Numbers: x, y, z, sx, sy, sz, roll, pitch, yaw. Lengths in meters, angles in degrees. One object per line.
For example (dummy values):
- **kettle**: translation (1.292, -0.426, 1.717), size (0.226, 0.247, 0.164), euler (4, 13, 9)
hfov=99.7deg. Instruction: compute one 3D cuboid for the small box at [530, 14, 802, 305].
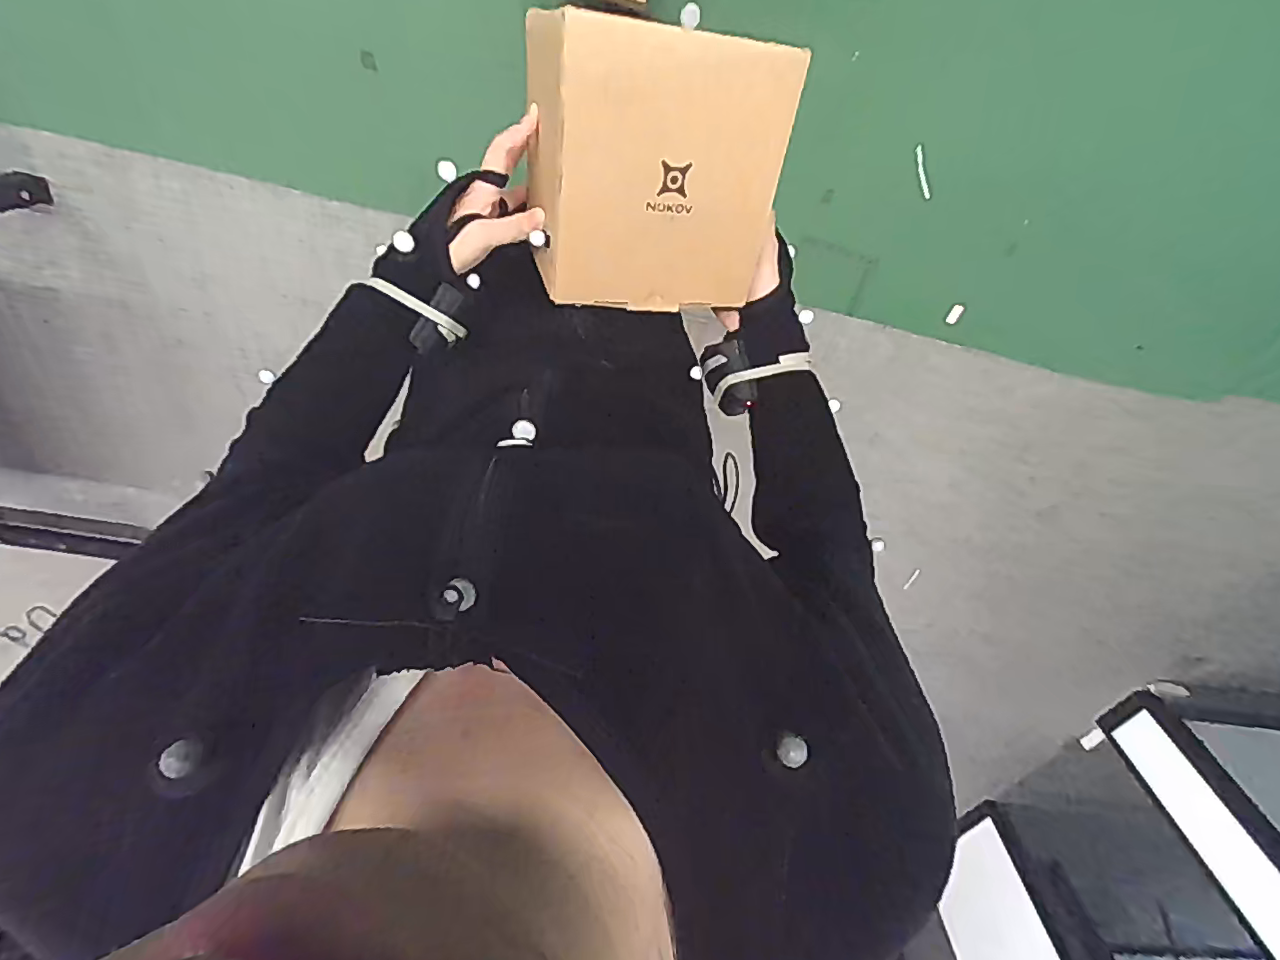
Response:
- **small box**: translation (0.001, -0.261, 0.448), size (0.168, 0.176, 0.179), euler (-5, 131, -16)
